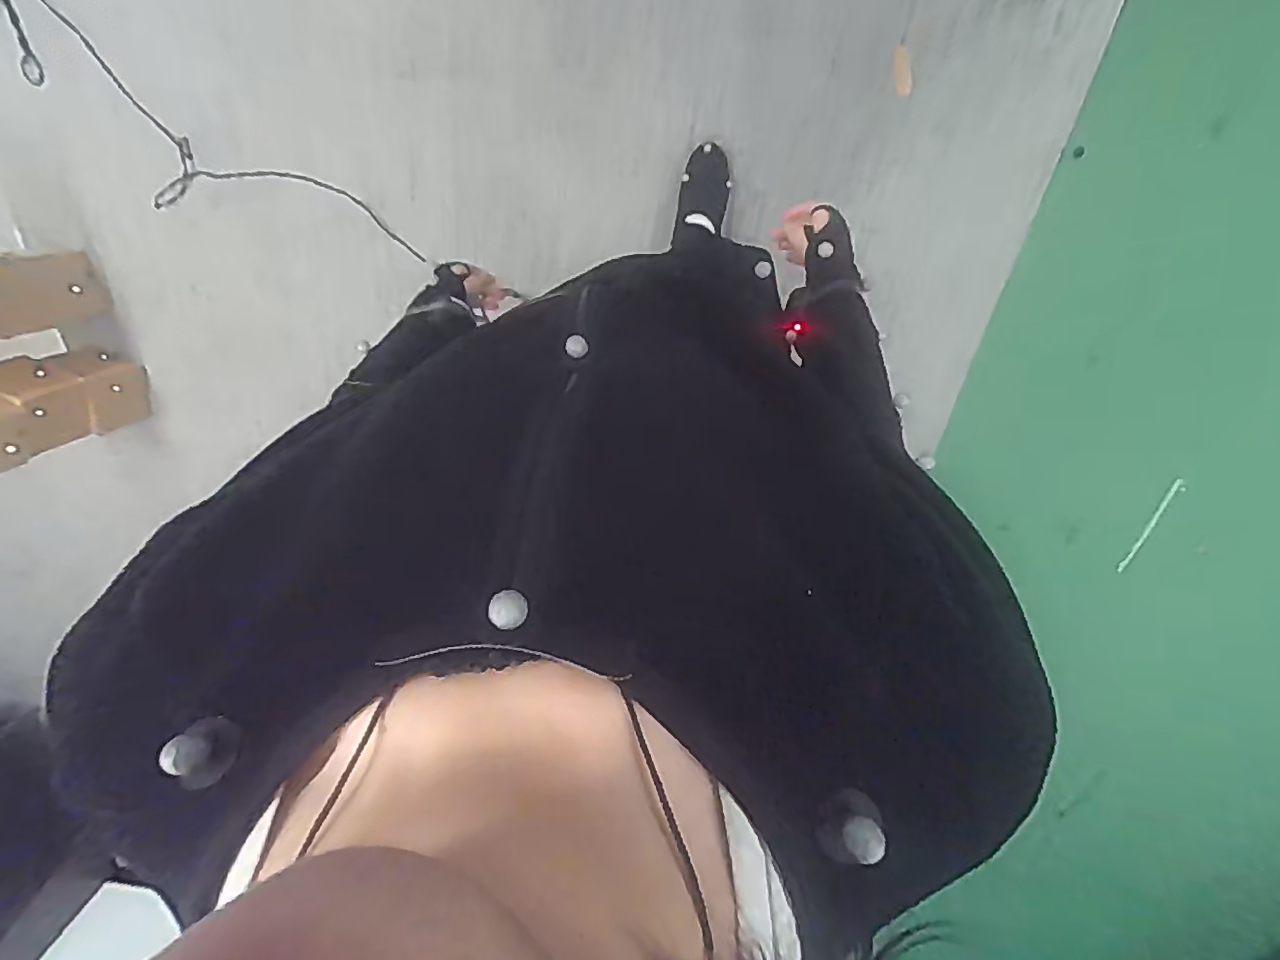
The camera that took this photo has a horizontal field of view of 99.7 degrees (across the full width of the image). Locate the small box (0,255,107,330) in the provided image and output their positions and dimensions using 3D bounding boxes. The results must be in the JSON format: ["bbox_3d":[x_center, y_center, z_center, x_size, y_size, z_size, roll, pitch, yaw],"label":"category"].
[{"bbox_3d":[-1.554,-0.490,1.403,0.179,0.176,0.168,2,117,5],"label":"small box"}]

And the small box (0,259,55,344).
[{"bbox_3d":[-1.555,-0.409,1.262,0.168,0.176,0.179,-2,117,5],"label":"small box"}]

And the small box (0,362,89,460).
[{"bbox_3d":[-1.571,-0.177,1.383,0.168,0.176,0.179,24,115,-6],"label":"small box"}]

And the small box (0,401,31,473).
[{"bbox_3d":[-1.577,-0.101,1.237,0.179,0.176,0.168,28,115,-9],"label":"small box"}]
